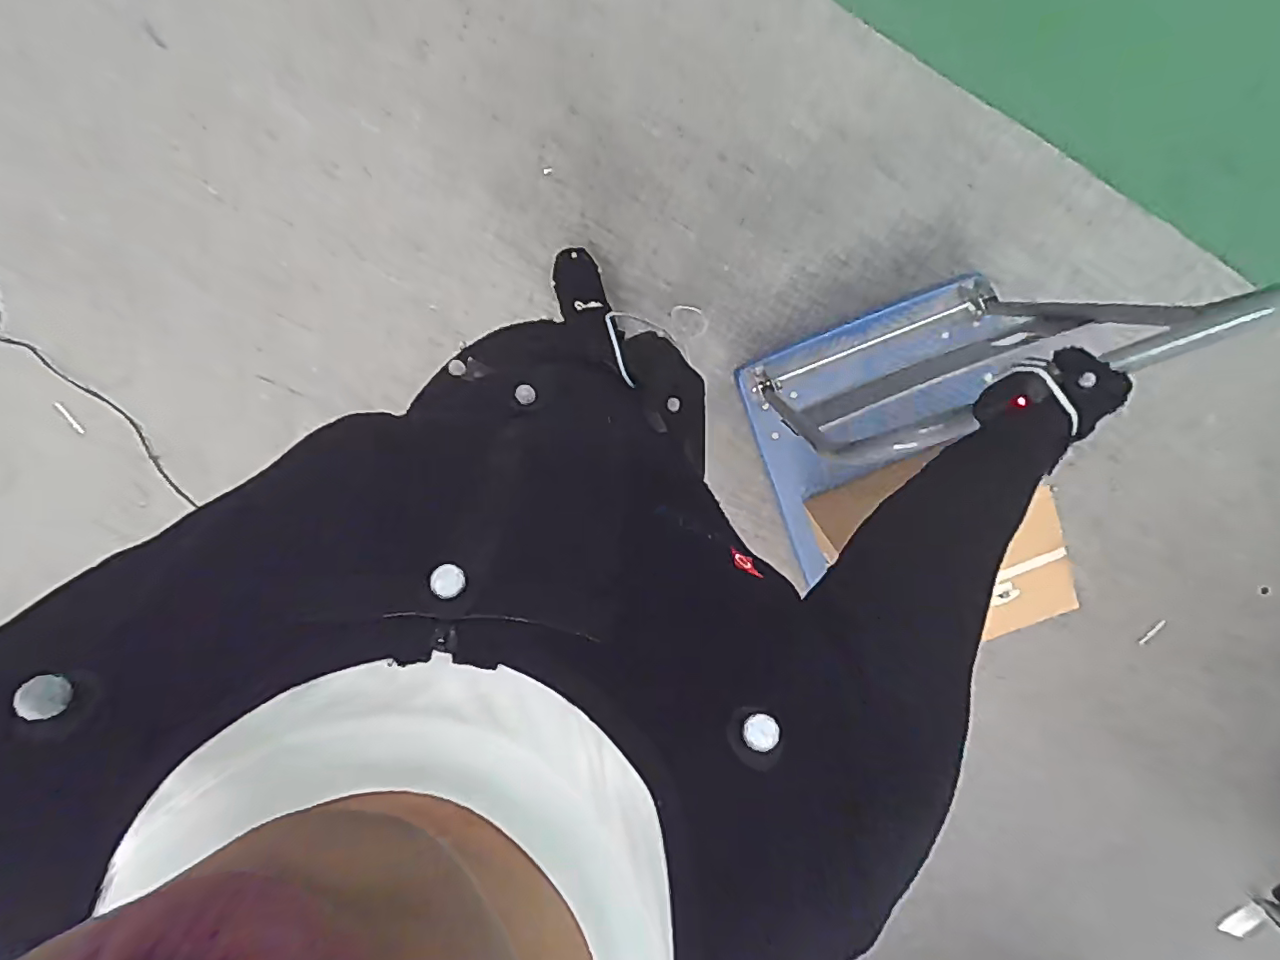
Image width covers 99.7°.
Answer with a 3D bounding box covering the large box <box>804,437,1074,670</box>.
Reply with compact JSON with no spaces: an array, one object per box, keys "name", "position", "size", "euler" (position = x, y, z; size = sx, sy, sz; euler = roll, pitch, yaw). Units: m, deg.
[{"name":"large box","position":[0.654,0.153,1.238],"size":[0.408,0.320,0.320],"euler":[-25,111,9]}]
